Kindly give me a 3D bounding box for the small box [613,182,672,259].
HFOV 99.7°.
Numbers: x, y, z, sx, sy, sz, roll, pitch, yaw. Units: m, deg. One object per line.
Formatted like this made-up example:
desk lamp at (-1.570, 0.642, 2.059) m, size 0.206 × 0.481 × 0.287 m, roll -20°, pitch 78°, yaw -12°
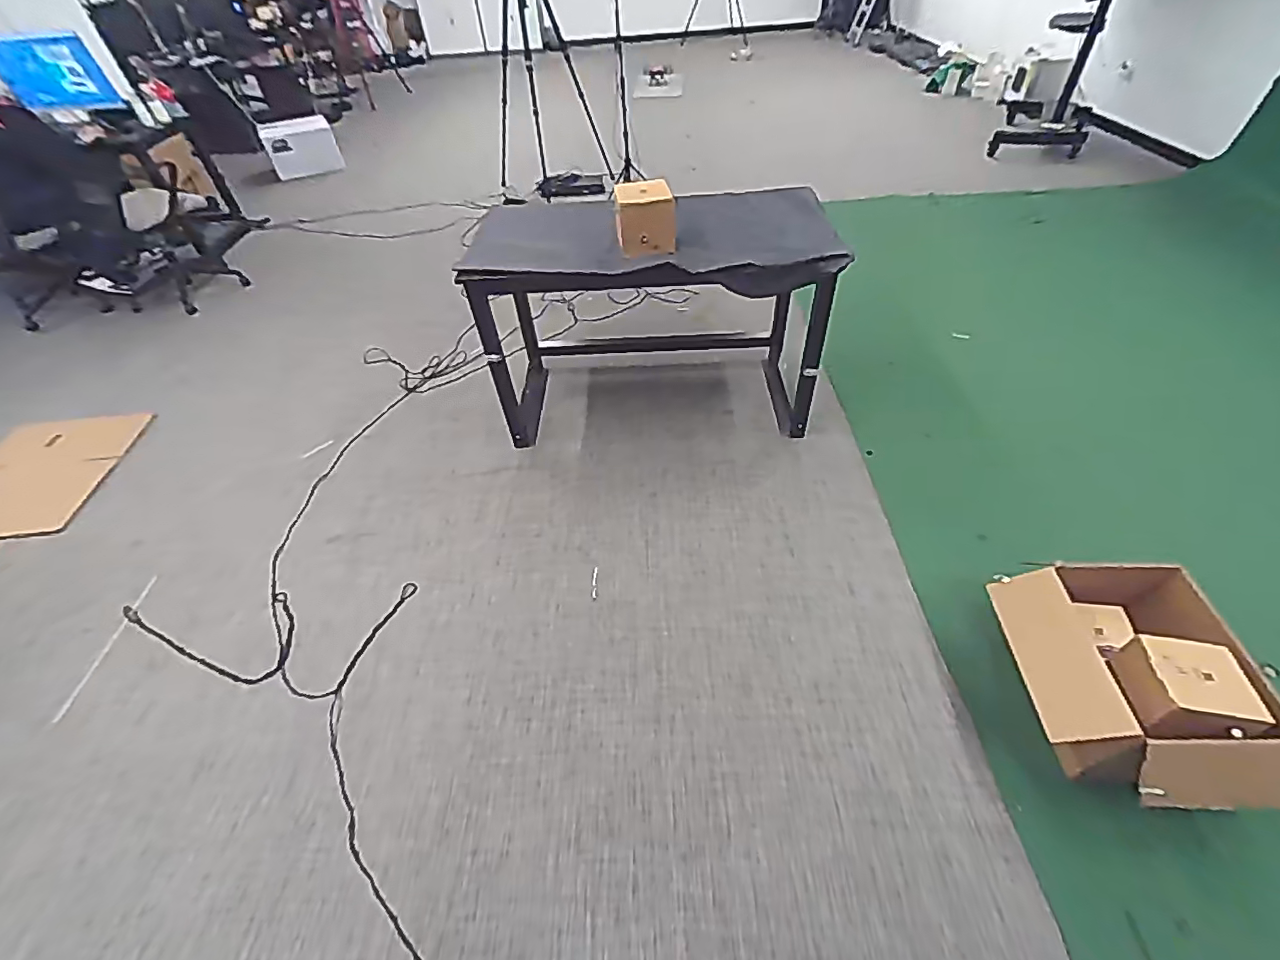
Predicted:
small box at (0.006, -0.822, 1.716) m, size 0.168 × 0.176 × 0.179 m, roll -8°, pitch 47°, yaw -3°
